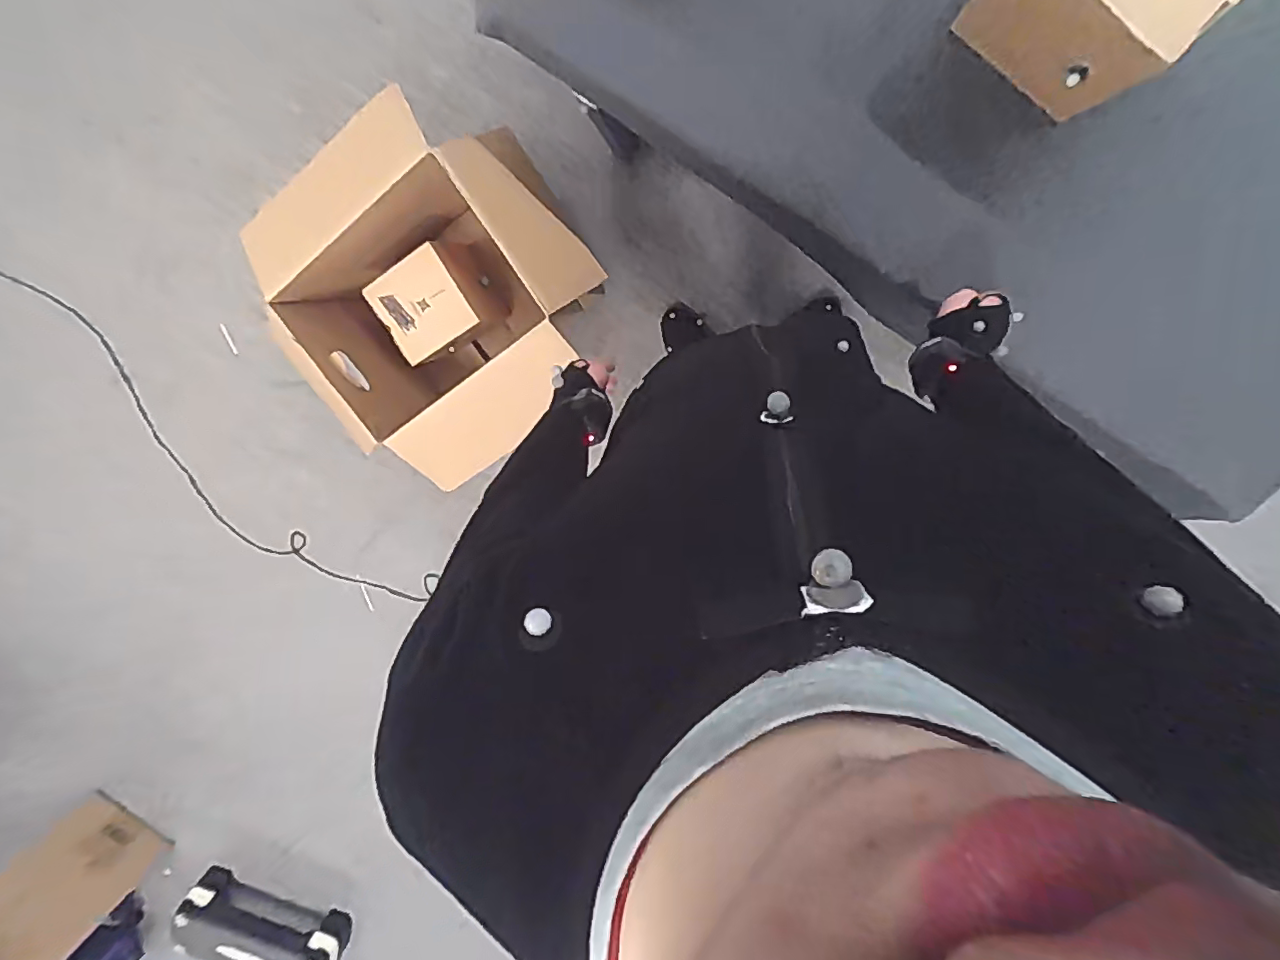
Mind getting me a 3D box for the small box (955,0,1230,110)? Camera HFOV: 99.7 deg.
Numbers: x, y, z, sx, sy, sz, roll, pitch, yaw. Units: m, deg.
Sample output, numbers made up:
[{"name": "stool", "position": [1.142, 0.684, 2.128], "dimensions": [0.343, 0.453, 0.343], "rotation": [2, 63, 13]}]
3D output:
[{"name": "small box", "position": [0.461, -0.505, 0.528], "dimensions": [0.179, 0.176, 0.168], "rotation": [36, 108, -5]}]
